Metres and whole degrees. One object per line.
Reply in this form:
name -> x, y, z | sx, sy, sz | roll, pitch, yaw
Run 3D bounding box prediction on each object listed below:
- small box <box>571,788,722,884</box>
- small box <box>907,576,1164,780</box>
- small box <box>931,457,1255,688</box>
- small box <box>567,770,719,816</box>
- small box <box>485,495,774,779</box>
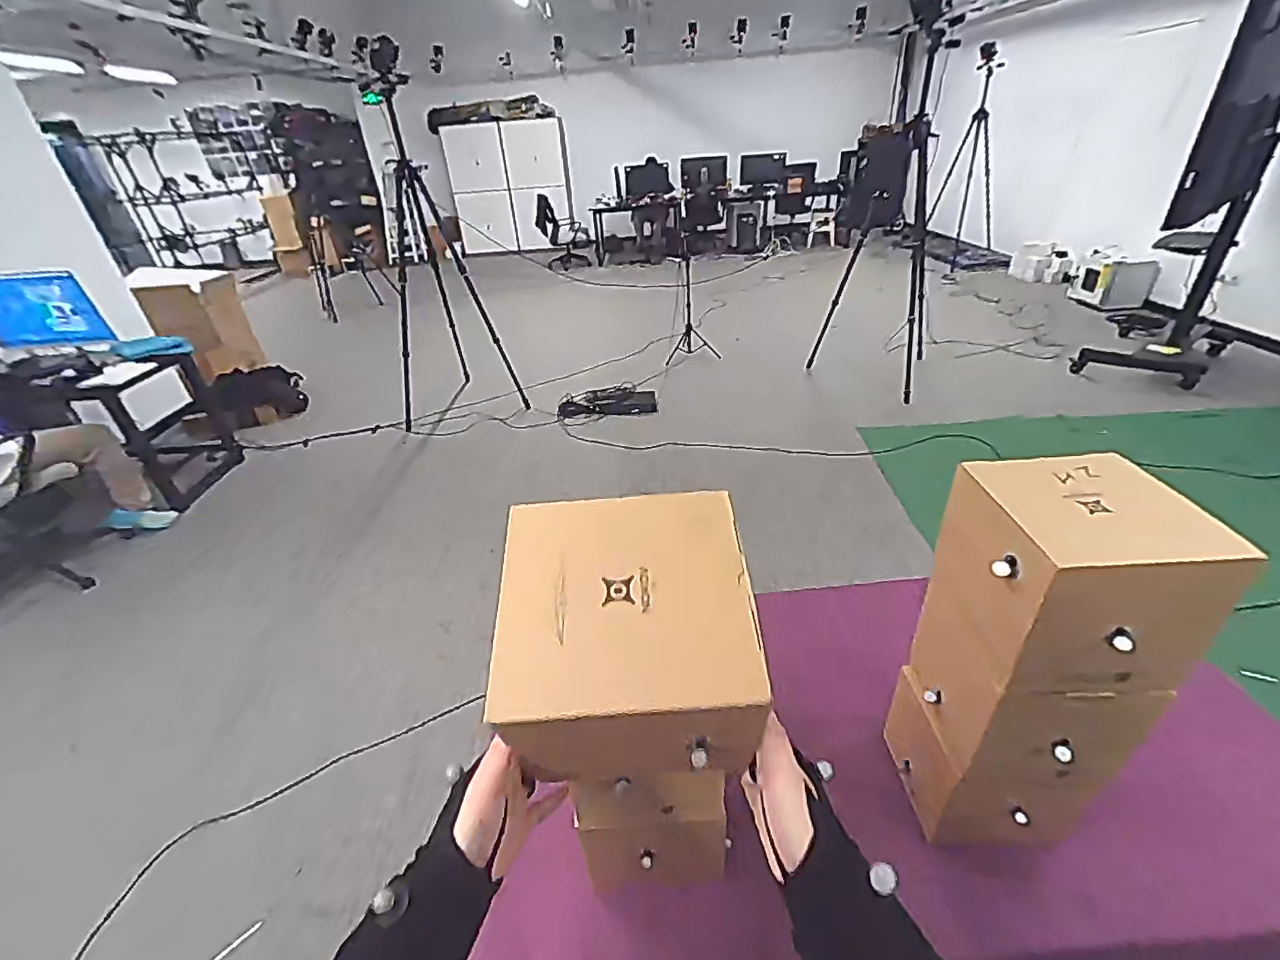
small box -> 0.011, 0.412, 0.727 | 0.179, 0.176, 0.168 | -5, 32, 1
small box -> 0.445, 0.233, 0.648 | 0.168, 0.176, 0.179 | -2, 33, 5
small box -> 0.431, 0.095, 0.558 | 0.168, 0.176, 0.179 | -3, 32, 4
small box -> 0.003, 0.273, 0.642 | 0.168, 0.176, 0.179 | -3, 31, 2
small box -> -0.005, 0.130, 0.432 | 0.179, 0.176, 0.168 | -4, 50, 1
